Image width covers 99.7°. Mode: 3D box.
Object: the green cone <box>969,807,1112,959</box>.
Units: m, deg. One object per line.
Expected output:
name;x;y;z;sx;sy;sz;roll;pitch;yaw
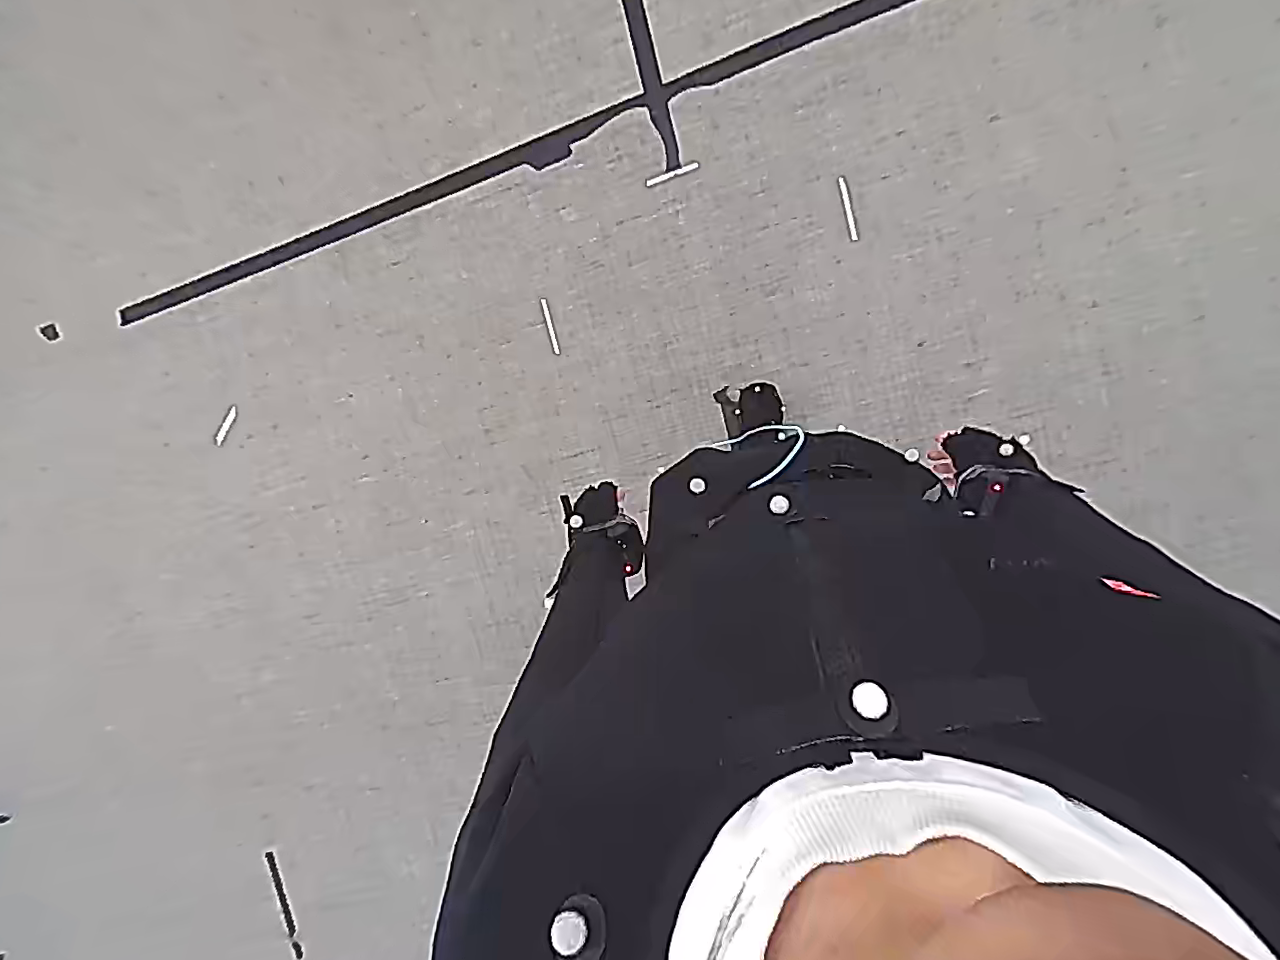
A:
green cone;0.946;0.968;1.229;0.202;0.368;0.200;-14;94;10

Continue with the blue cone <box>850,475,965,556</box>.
blue cone;0.614;0.111;1.206;0.192;0.380;0.193;-10;95;9

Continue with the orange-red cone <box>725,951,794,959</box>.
orange-red cone;0.324;1.468;1.391;0.199;0.360;0.198;-9;93;12
